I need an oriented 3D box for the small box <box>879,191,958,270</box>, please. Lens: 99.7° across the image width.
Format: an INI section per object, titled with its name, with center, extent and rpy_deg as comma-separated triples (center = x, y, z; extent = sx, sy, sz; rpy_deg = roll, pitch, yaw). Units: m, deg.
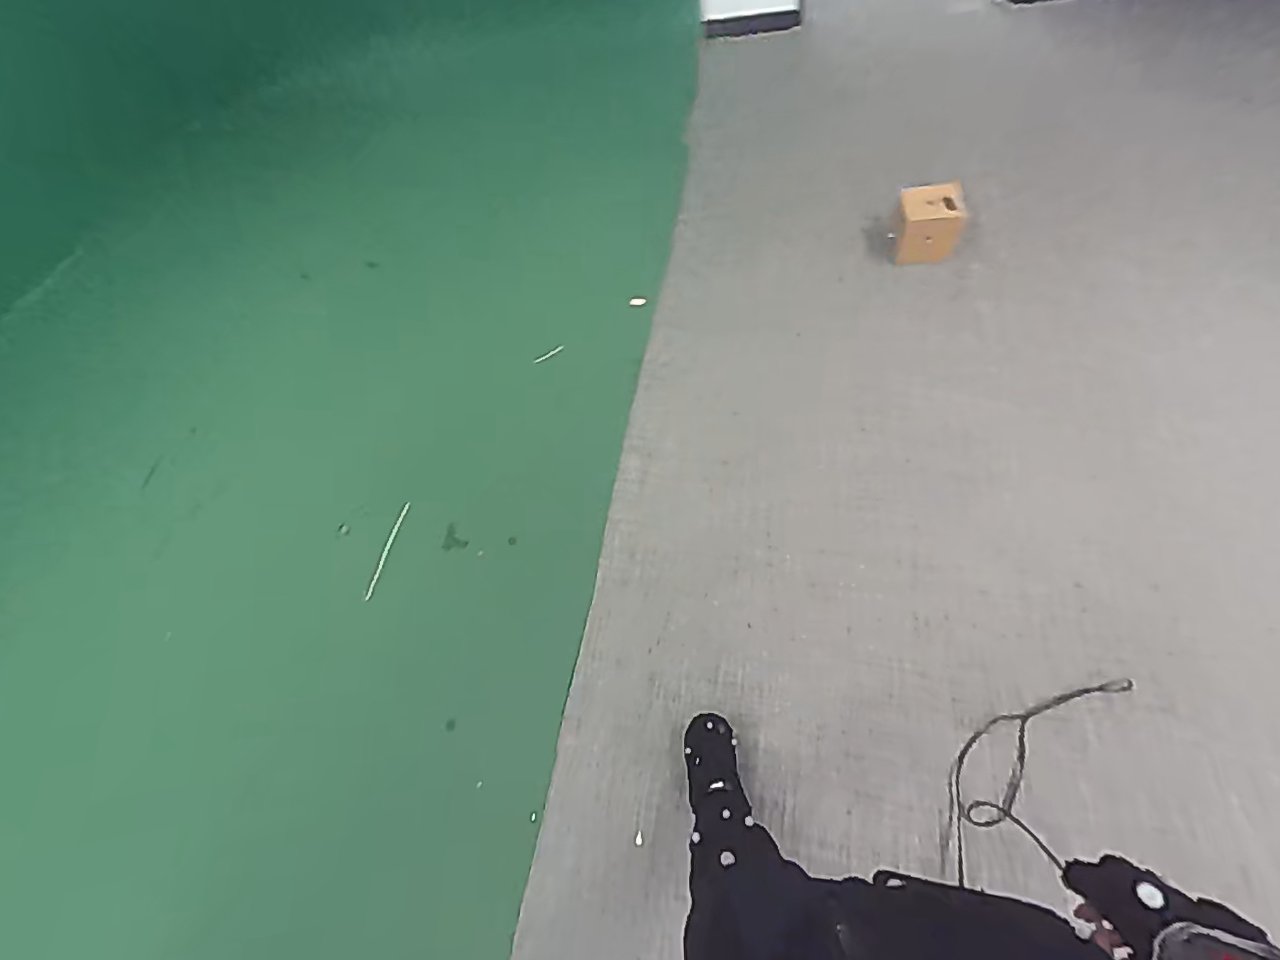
[small box]
center = 0.921, -0.827, 1.804
extent = 0.179, 0.176, 0.168
rpy_deg = -4, 61, 8
